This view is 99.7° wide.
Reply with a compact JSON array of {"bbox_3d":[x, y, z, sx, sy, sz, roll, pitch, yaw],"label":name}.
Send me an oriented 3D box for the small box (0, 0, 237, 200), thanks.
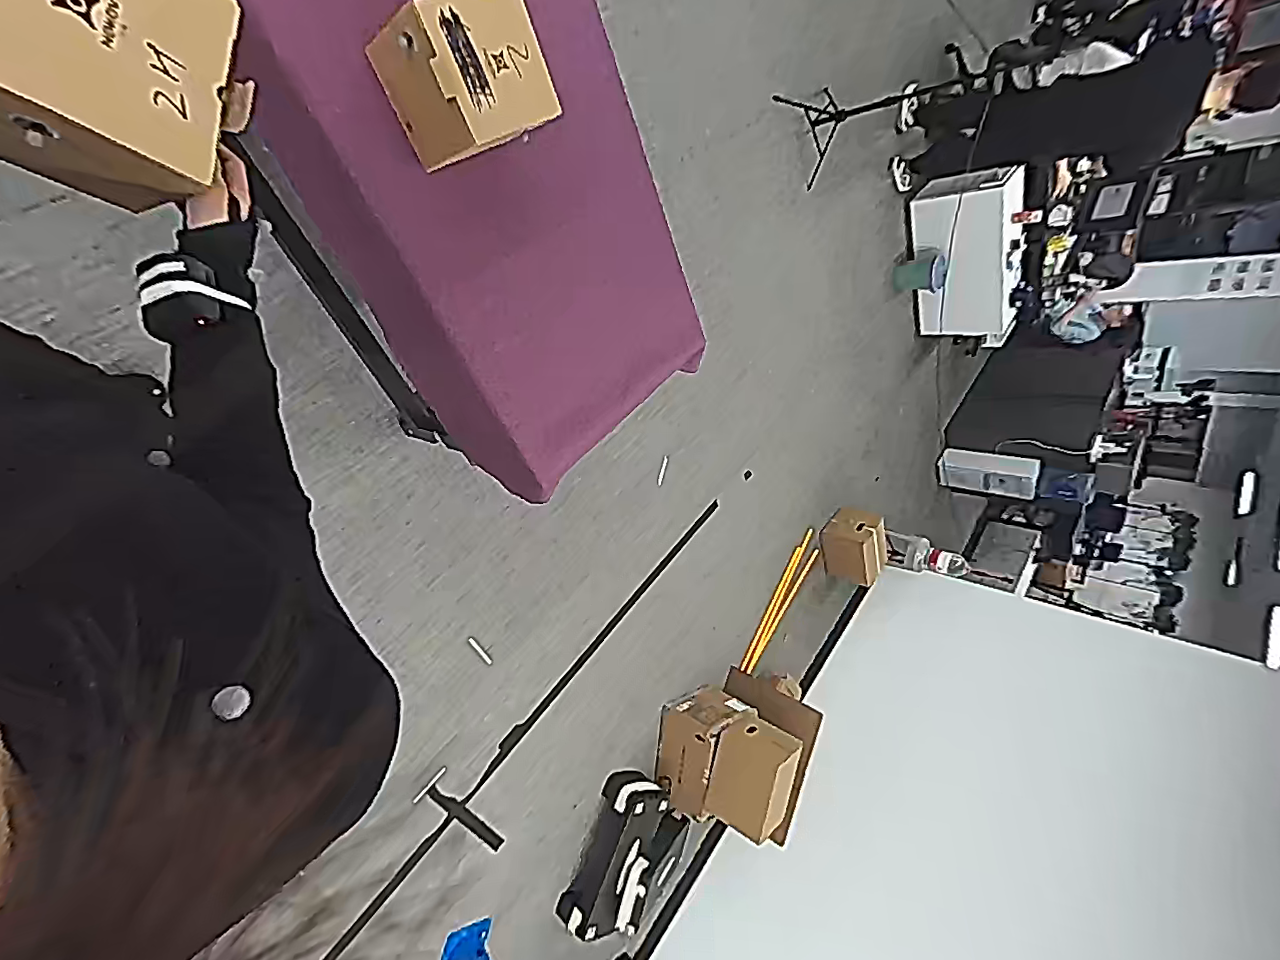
[{"bbox_3d":[-0.474,-0.351,0.434,0.179,0.176,0.168,10,88,-60],"label":"small box"}]
